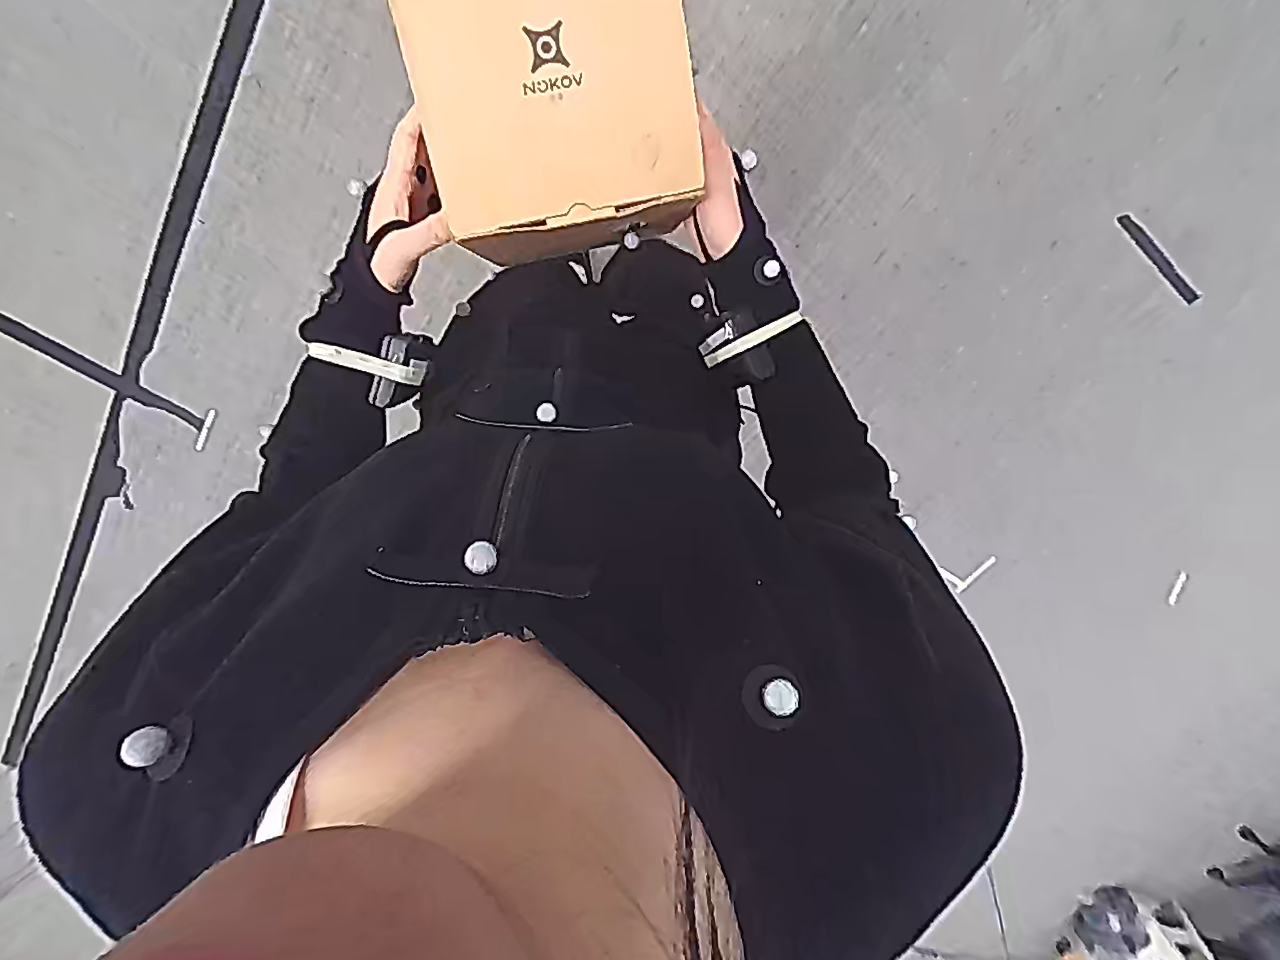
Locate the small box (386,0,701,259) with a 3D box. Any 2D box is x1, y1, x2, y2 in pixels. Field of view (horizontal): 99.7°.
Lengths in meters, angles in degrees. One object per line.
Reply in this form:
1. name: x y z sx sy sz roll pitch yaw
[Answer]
1. small box: -0.061 -0.267 0.391 0.168 0.176 0.179 -12 106 -2
